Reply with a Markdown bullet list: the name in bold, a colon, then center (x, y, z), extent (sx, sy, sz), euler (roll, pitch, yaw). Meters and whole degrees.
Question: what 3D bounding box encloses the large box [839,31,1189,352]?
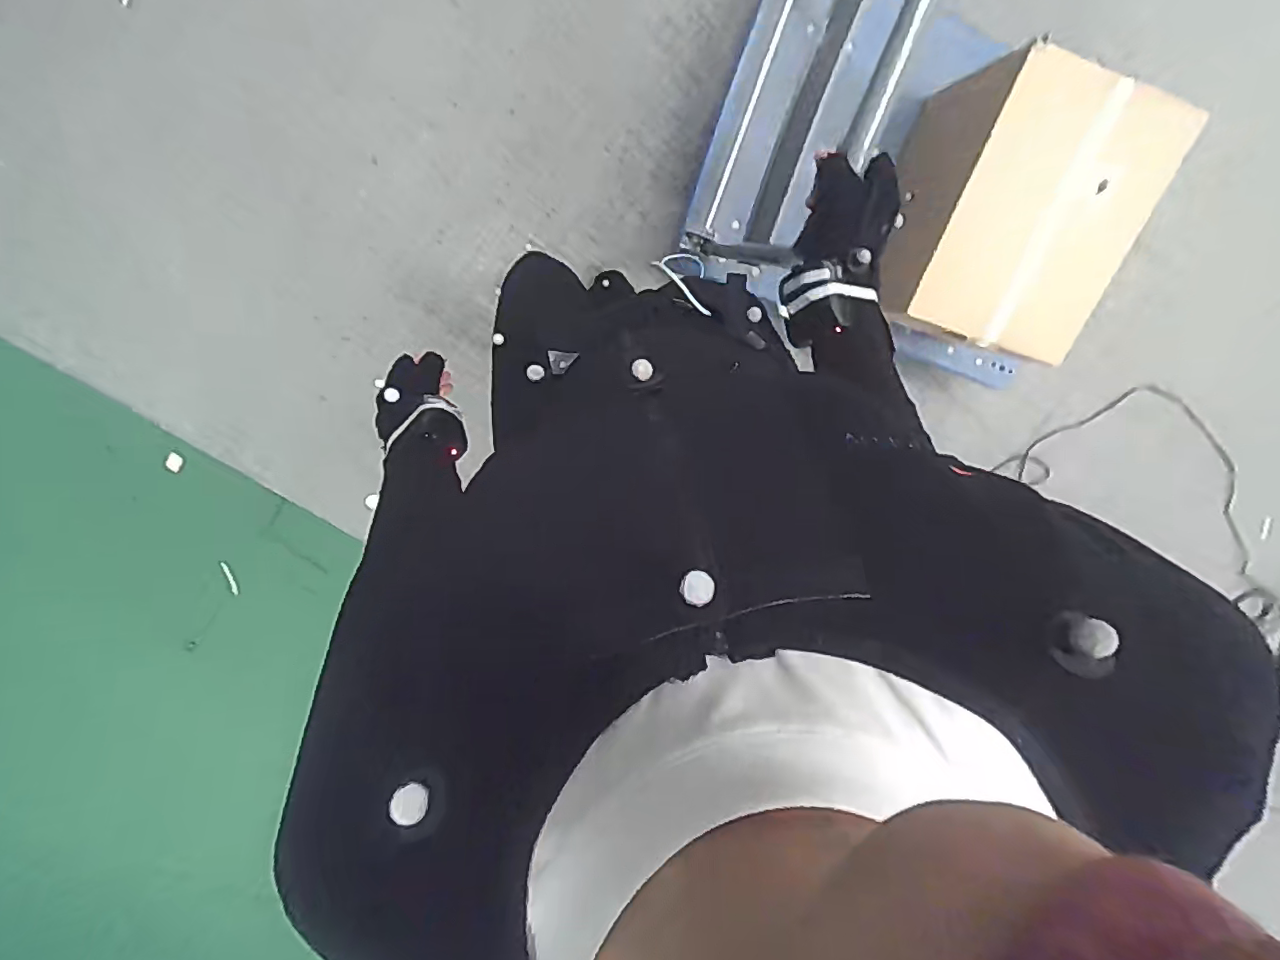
- **large box**: center (0.640, -0.492, 1.014), extent (0.320, 0.320, 0.408), euler (16, 110, -9)
